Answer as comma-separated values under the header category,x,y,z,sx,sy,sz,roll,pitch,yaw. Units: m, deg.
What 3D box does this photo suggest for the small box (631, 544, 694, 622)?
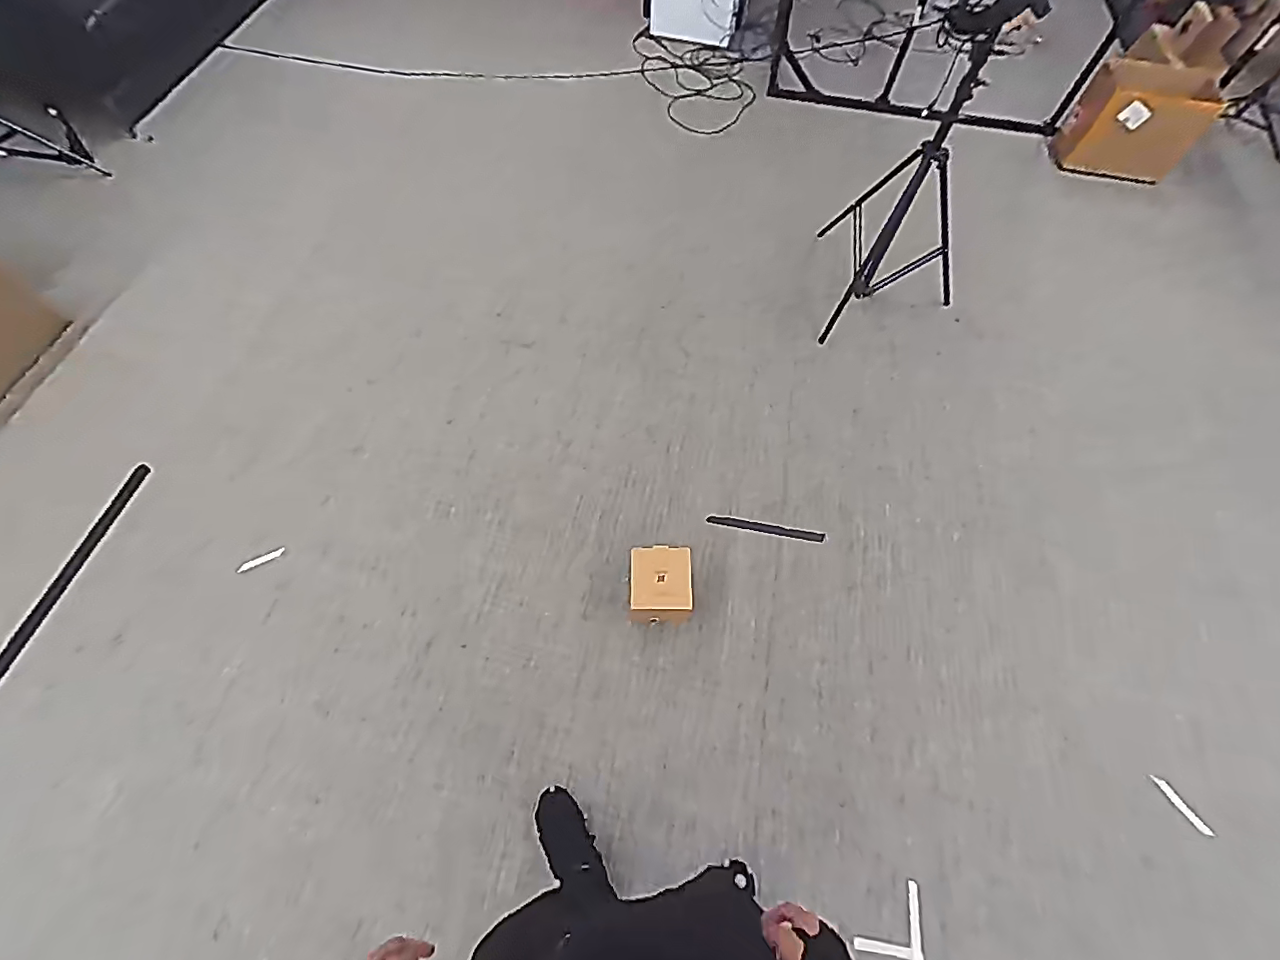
category,x,y,z,sx,sy,sz,roll,pitch,yaw
small box,0.060,0.293,1.525,0.168,0.176,0.179,1,63,0
